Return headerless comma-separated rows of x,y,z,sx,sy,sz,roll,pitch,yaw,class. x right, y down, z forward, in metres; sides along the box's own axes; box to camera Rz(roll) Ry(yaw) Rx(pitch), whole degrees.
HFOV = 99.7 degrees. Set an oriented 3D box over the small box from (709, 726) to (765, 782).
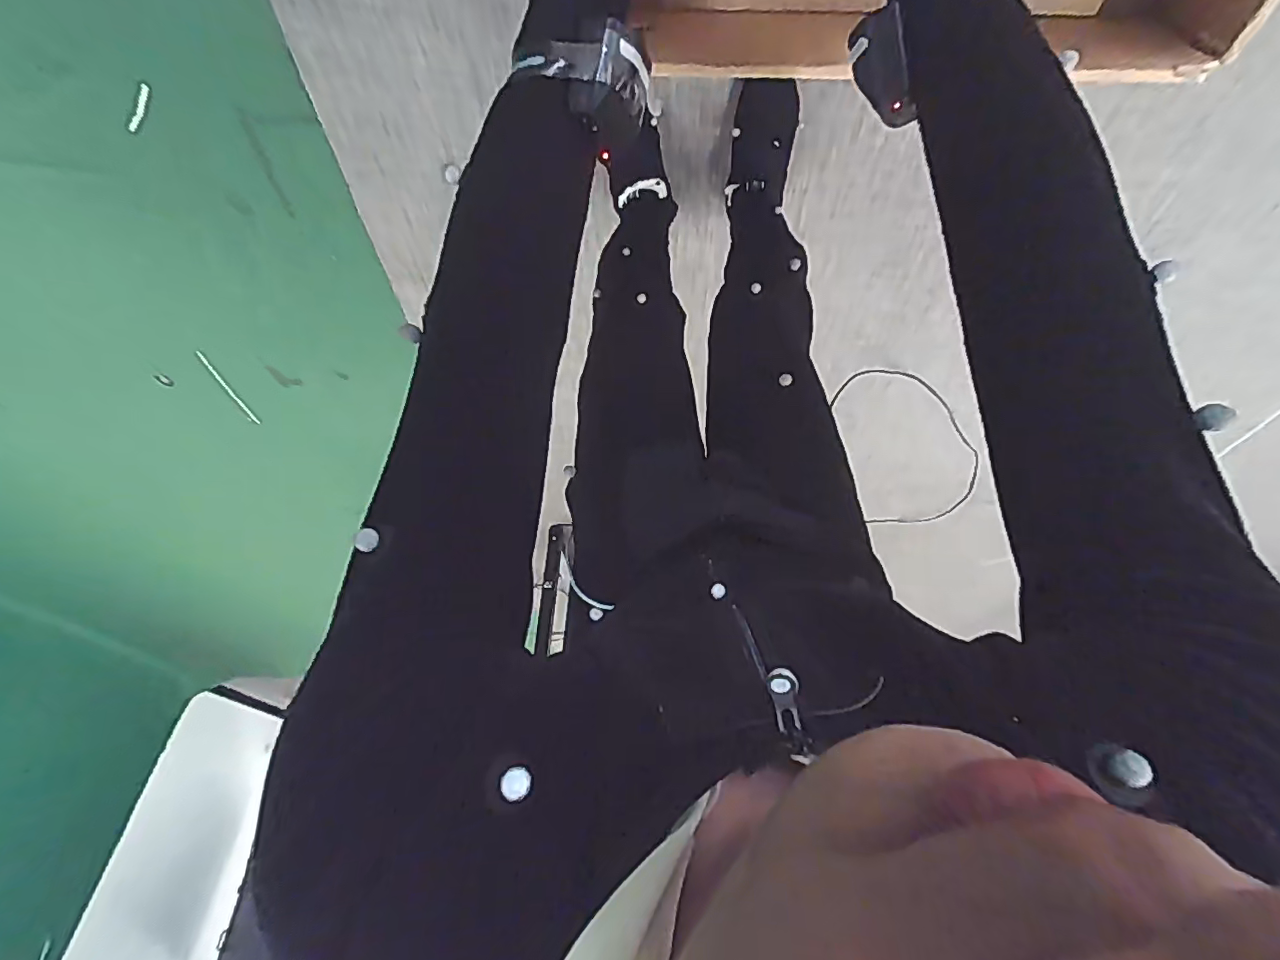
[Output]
0.366,1.049,2.073,0.179,0.176,0.168,6,145,-4,small box
